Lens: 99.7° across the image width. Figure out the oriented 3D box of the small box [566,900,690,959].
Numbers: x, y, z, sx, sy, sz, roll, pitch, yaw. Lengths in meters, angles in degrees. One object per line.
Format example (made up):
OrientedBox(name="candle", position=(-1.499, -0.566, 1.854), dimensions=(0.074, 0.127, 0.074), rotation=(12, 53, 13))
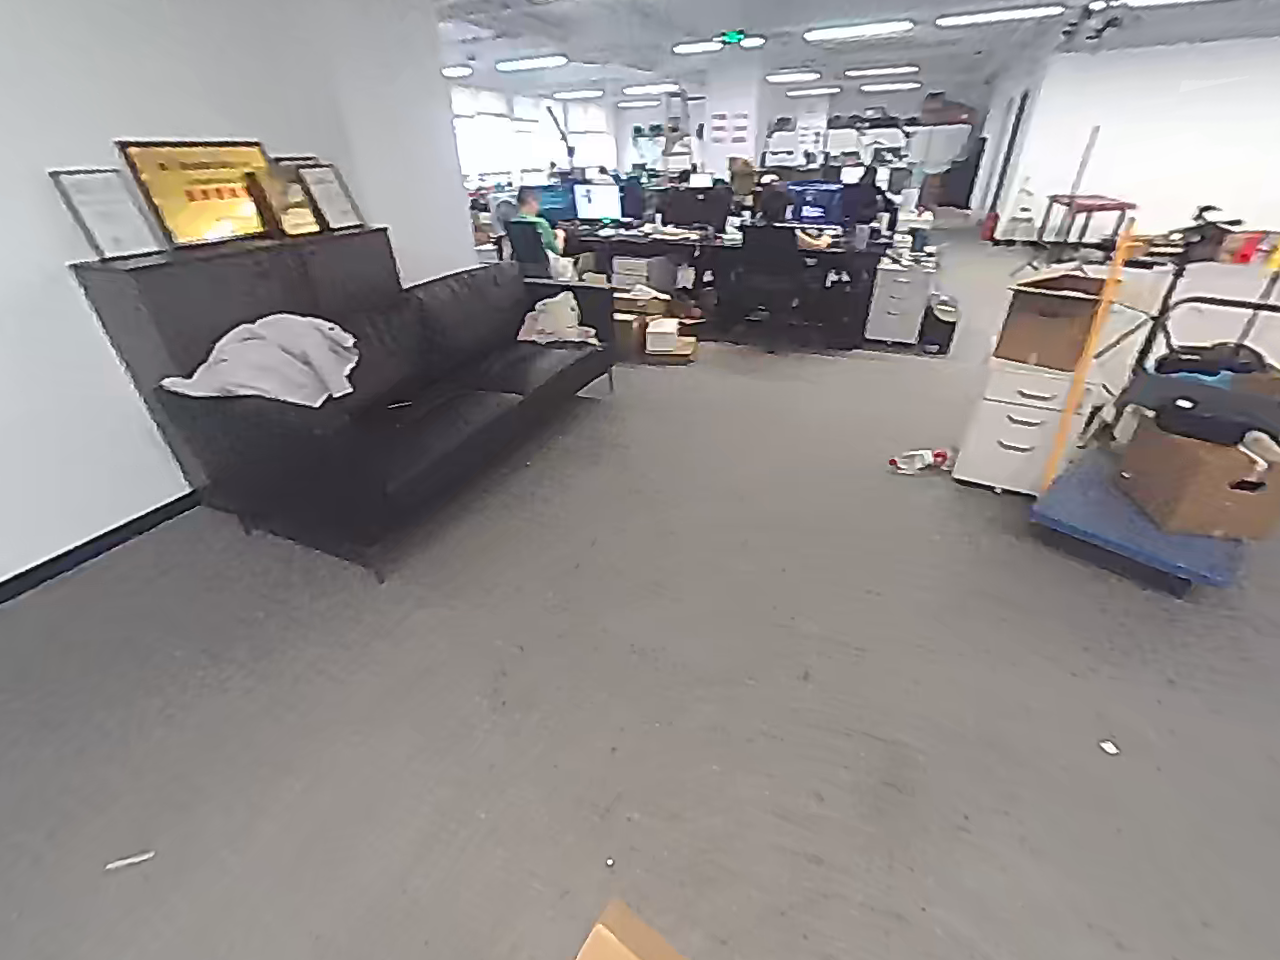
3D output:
OrientedBox(name="small box", position=(-0.014, 0.554, 0.527), dimensions=(0.179, 0.176, 0.168), rotation=(29, 64, 18))
